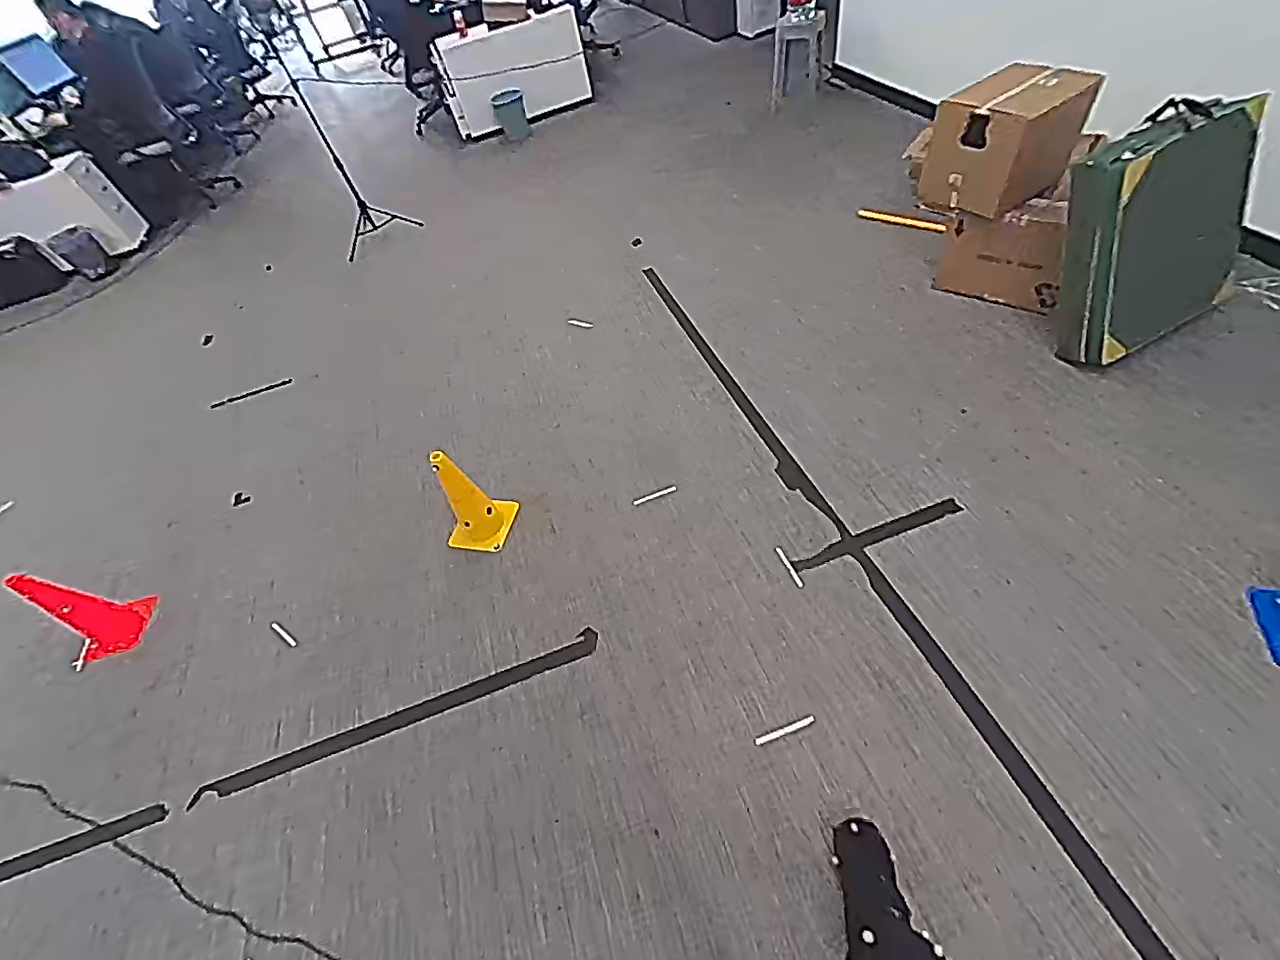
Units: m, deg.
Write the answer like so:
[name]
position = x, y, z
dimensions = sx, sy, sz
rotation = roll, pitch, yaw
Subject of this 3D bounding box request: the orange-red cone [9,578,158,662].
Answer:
[orange-red cone]
position = -1.807, 0.410, 1.726
dimensions = 0.199, 0.360, 0.198
rotation = -14, 51, 0
